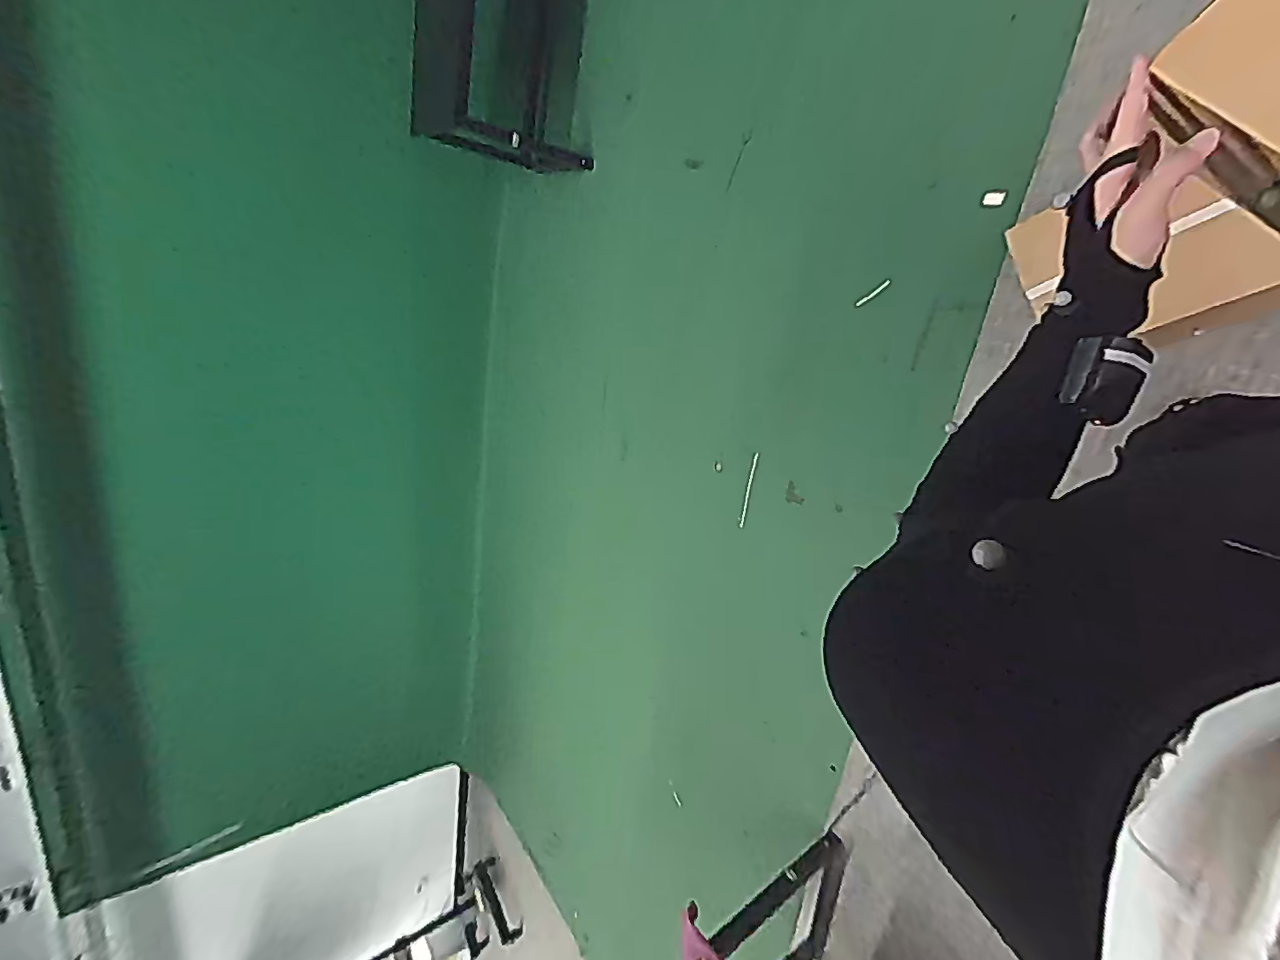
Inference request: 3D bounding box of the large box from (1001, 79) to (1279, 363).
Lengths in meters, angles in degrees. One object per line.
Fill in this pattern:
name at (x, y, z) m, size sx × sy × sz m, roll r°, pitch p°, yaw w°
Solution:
large box at (1.046, -0.463, 1.085) m, size 0.408 × 0.320 × 0.320 m, roll -24°, pitch 75°, yaw 50°
